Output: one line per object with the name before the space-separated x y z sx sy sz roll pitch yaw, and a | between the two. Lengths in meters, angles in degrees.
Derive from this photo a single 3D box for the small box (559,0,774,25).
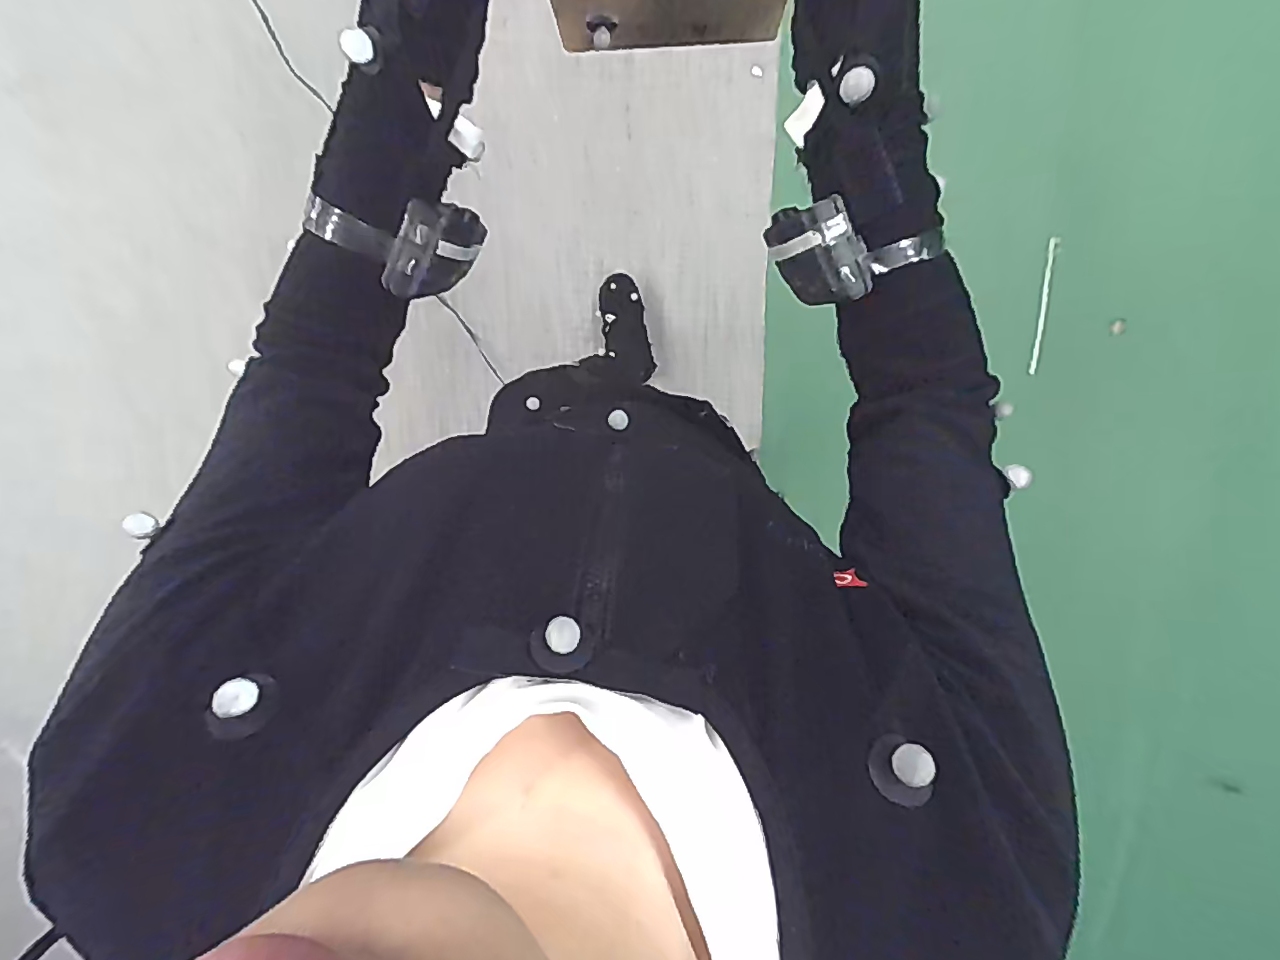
small box | 0.013 -0.415 0.323 0.168 0.176 0.179 -1 98 3
